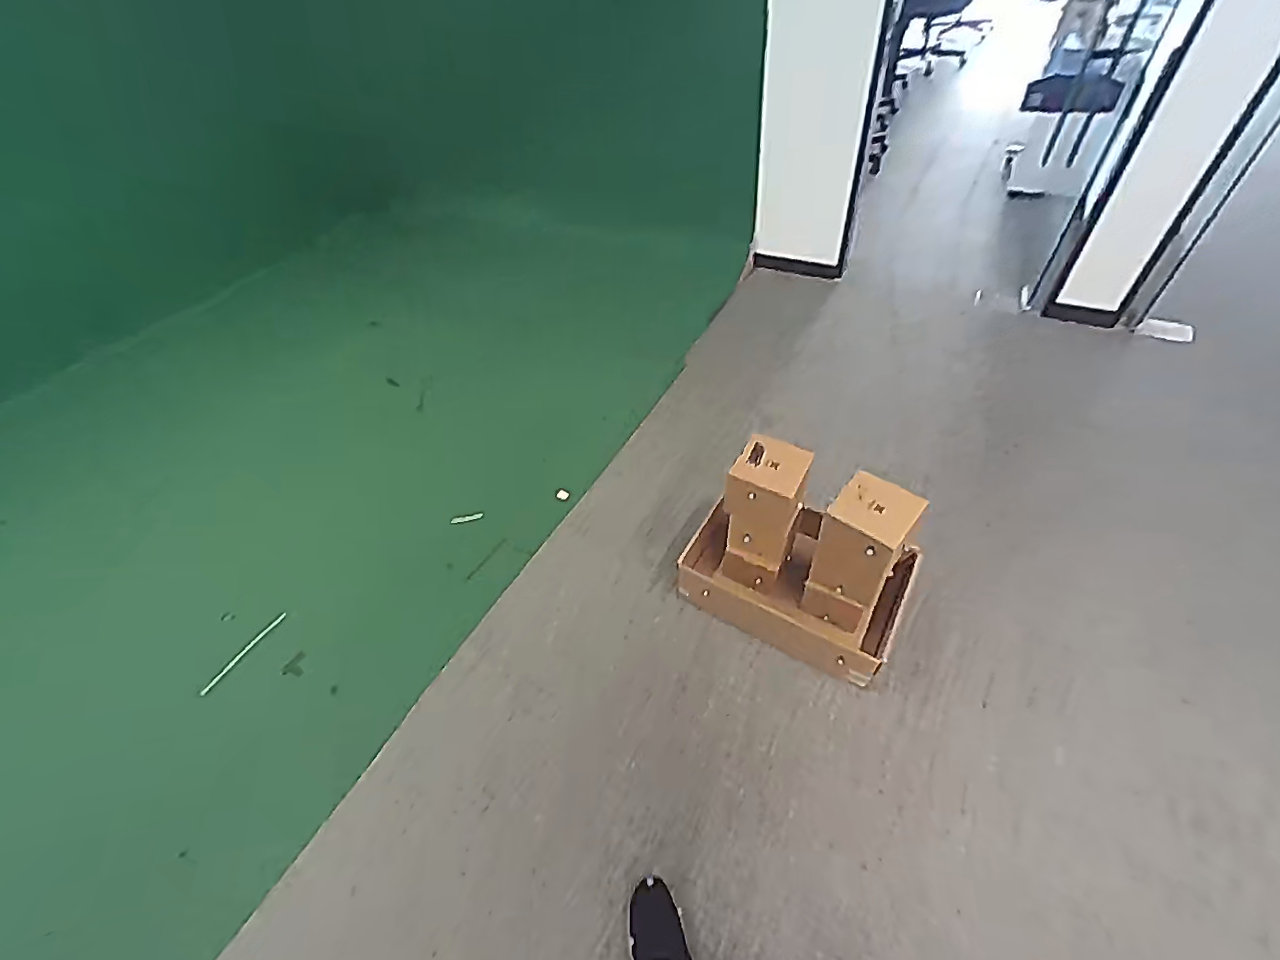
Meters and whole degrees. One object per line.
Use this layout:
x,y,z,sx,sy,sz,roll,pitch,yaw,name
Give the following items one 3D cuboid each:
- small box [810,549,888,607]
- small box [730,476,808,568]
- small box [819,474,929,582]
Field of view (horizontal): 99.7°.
0.580,0.217,1.454,0.179,0.176,0.168,25,58,26,small box
0.370,0.125,1.569,0.168,0.176,0.179,22,56,21,small box
0.562,0.124,1.318,0.179,0.176,0.168,32,61,31,small box
